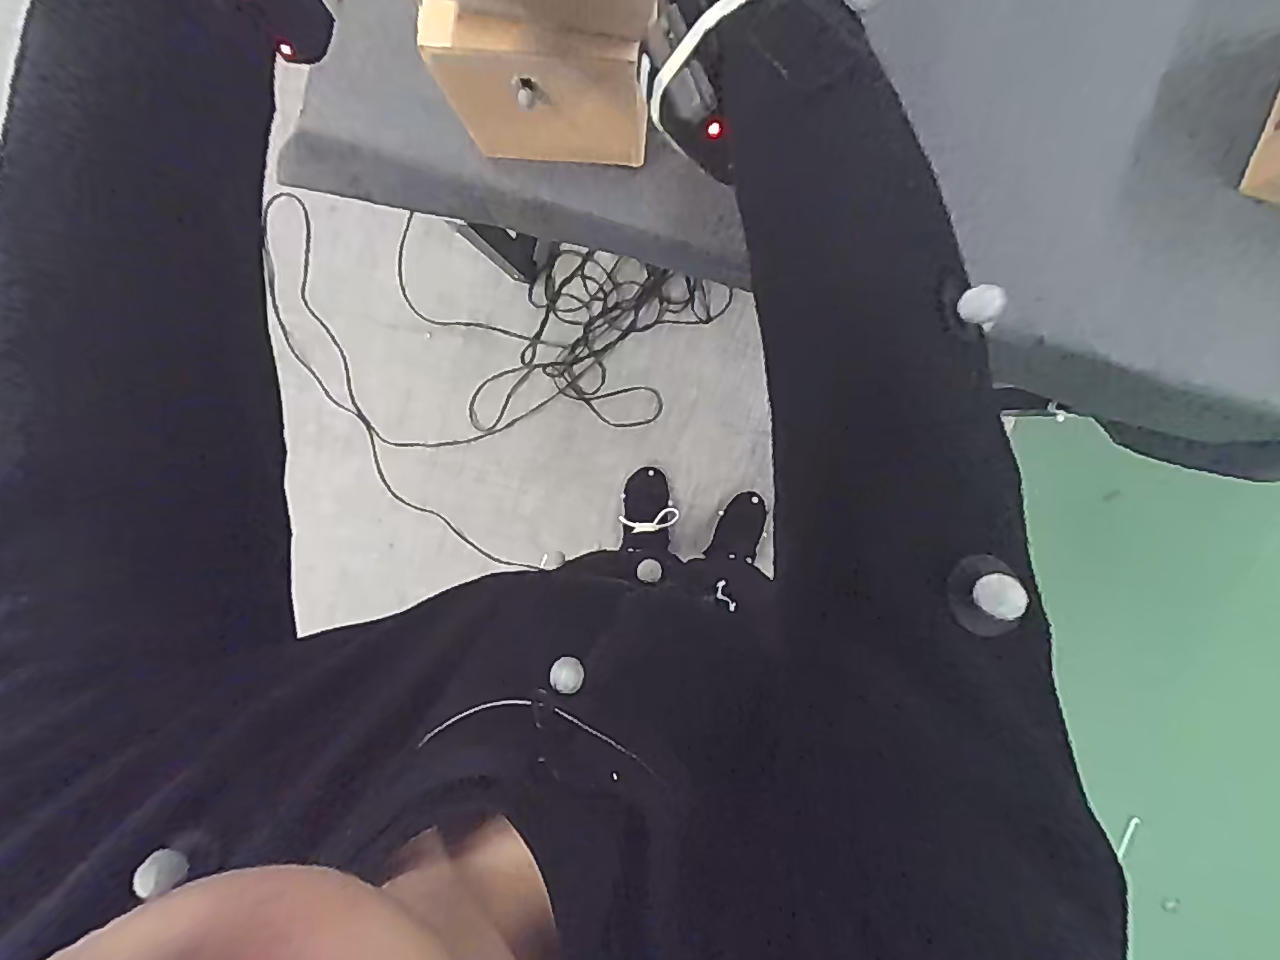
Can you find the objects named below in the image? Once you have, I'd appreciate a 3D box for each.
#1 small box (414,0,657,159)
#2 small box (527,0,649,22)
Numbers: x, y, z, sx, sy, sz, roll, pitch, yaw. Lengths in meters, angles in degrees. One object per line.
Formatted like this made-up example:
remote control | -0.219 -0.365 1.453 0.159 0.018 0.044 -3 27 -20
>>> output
small box | -0.078 -0.417 0.488 0.179 0.176 0.168 6 96 2
small box | -0.060 -0.406 0.301 0.179 0.176 0.168 4 104 -11
